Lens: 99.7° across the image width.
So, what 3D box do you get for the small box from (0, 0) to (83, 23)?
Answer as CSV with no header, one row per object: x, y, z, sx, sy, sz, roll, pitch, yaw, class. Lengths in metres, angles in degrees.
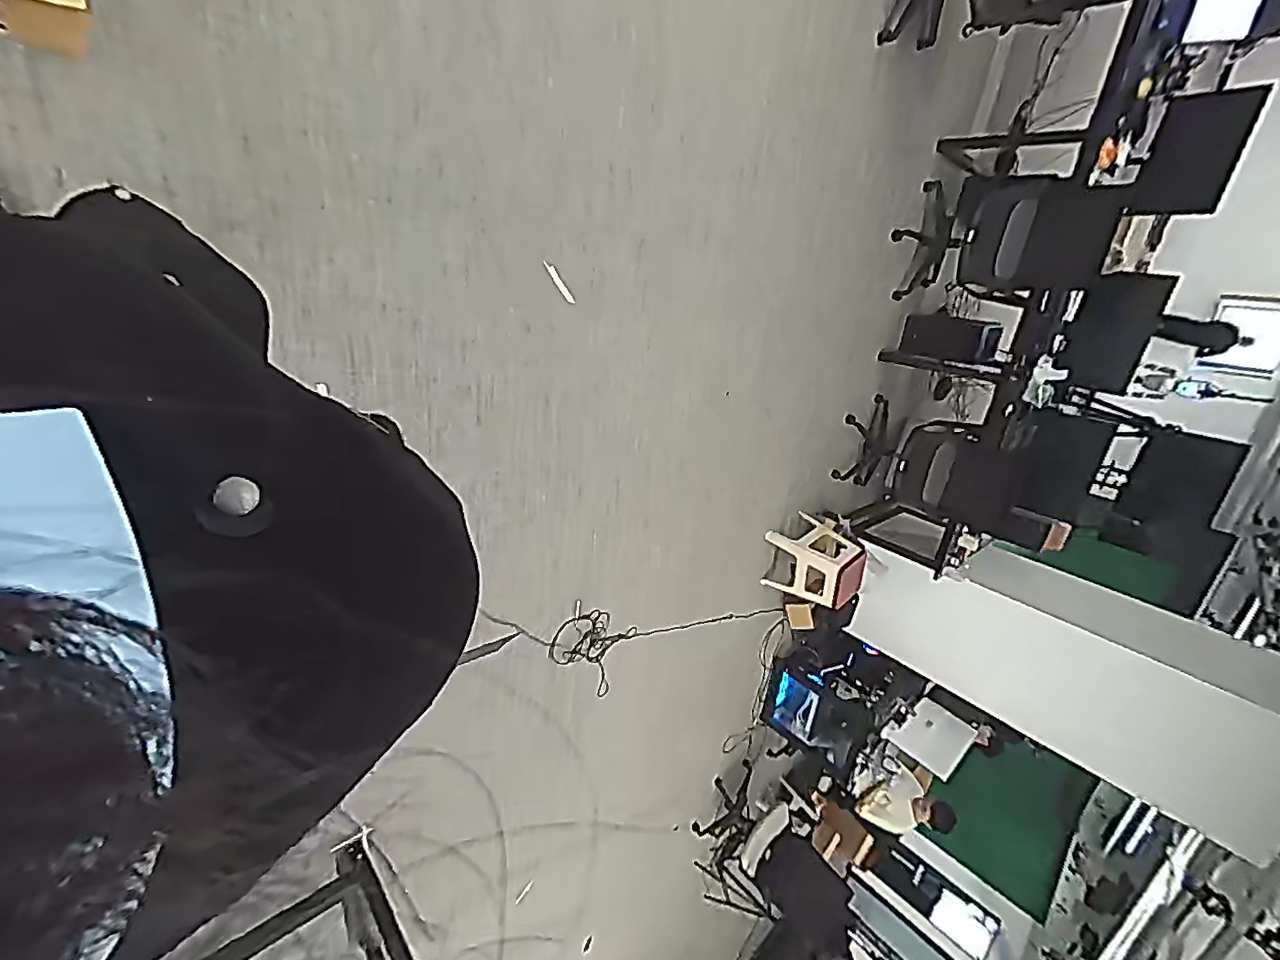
-0.850,-0.710,0.680,0.179,0.176,0.168,-18,122,-38,small box
